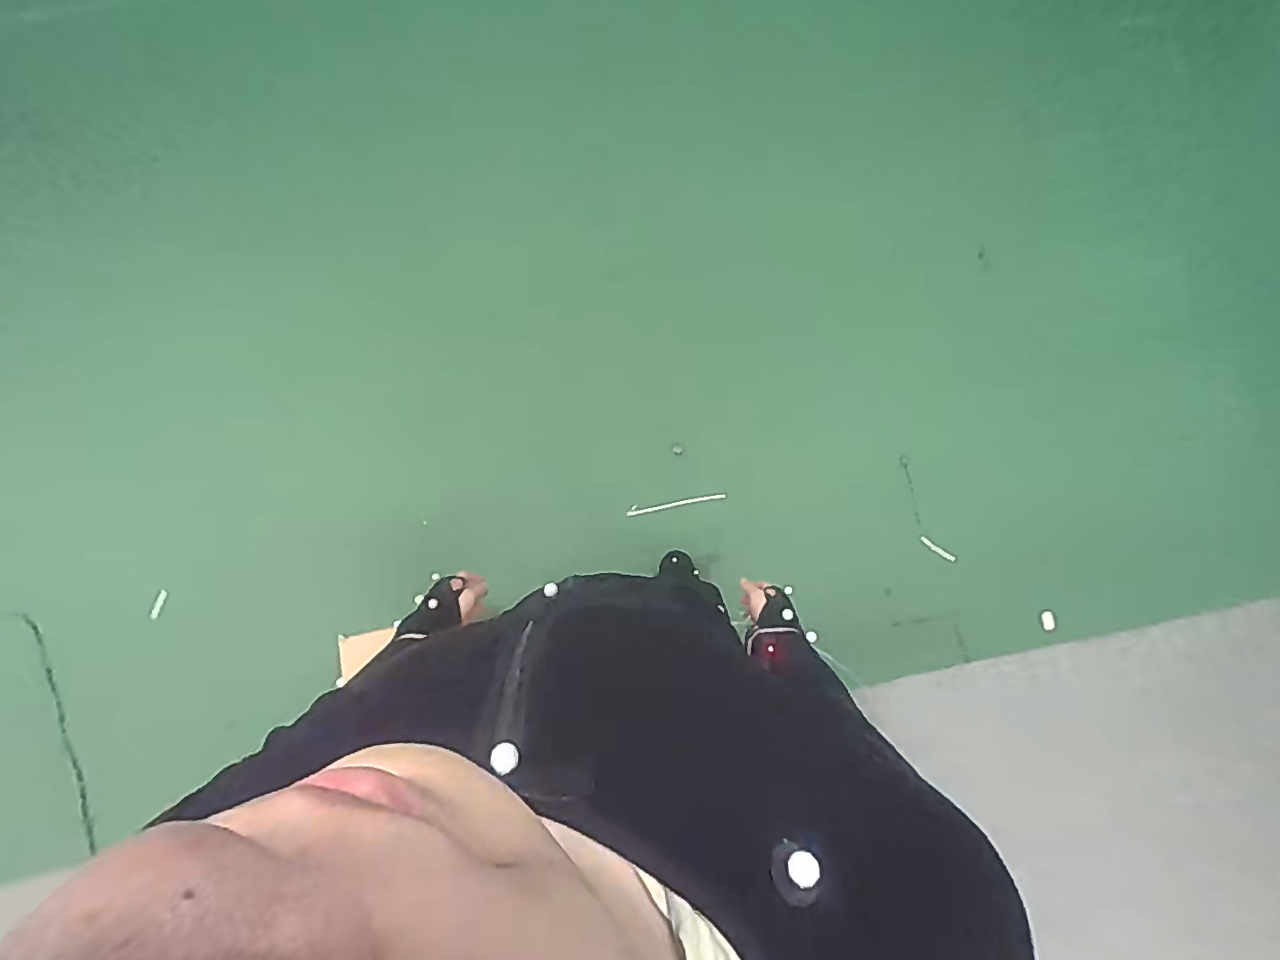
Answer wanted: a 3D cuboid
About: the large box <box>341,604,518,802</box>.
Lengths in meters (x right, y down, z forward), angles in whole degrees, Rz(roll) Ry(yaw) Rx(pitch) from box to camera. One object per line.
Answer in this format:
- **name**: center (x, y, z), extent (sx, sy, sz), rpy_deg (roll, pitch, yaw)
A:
- **large box**: center (-0.551, 0.571, 1.467), extent (0.320, 0.320, 0.408), rpy_deg (-13, 78, -2)
